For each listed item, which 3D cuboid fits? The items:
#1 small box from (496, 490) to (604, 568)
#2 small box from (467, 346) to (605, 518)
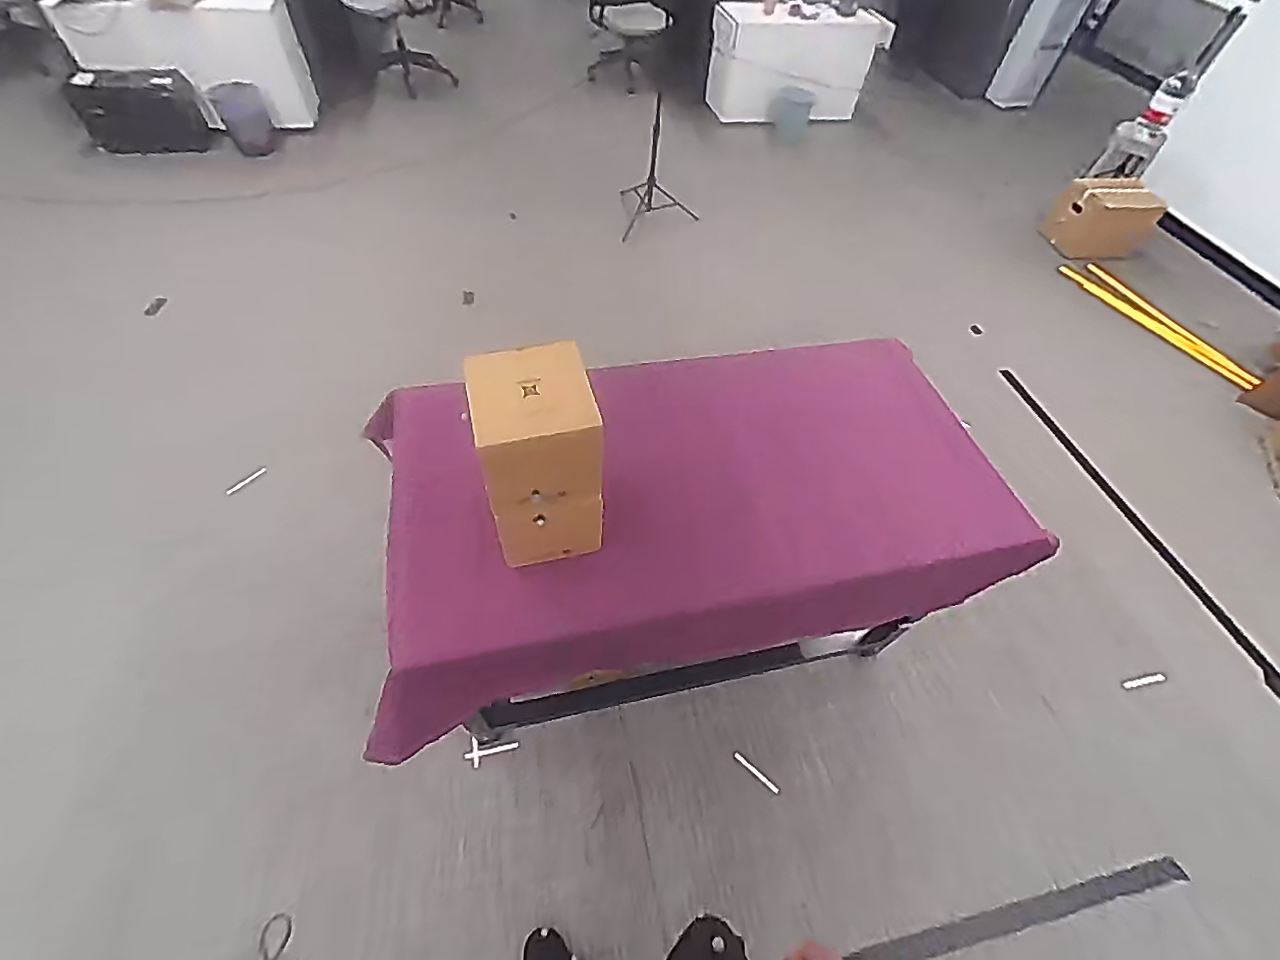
[{"bbox_3d":[-0.161,0.027,0.930,0.168,0.176,0.179,-9,55,-12],"label":"small box"},{"bbox_3d":[-0.153,-0.070,0.799,0.168,0.176,0.179,-11,56,-13],"label":"small box"}]
